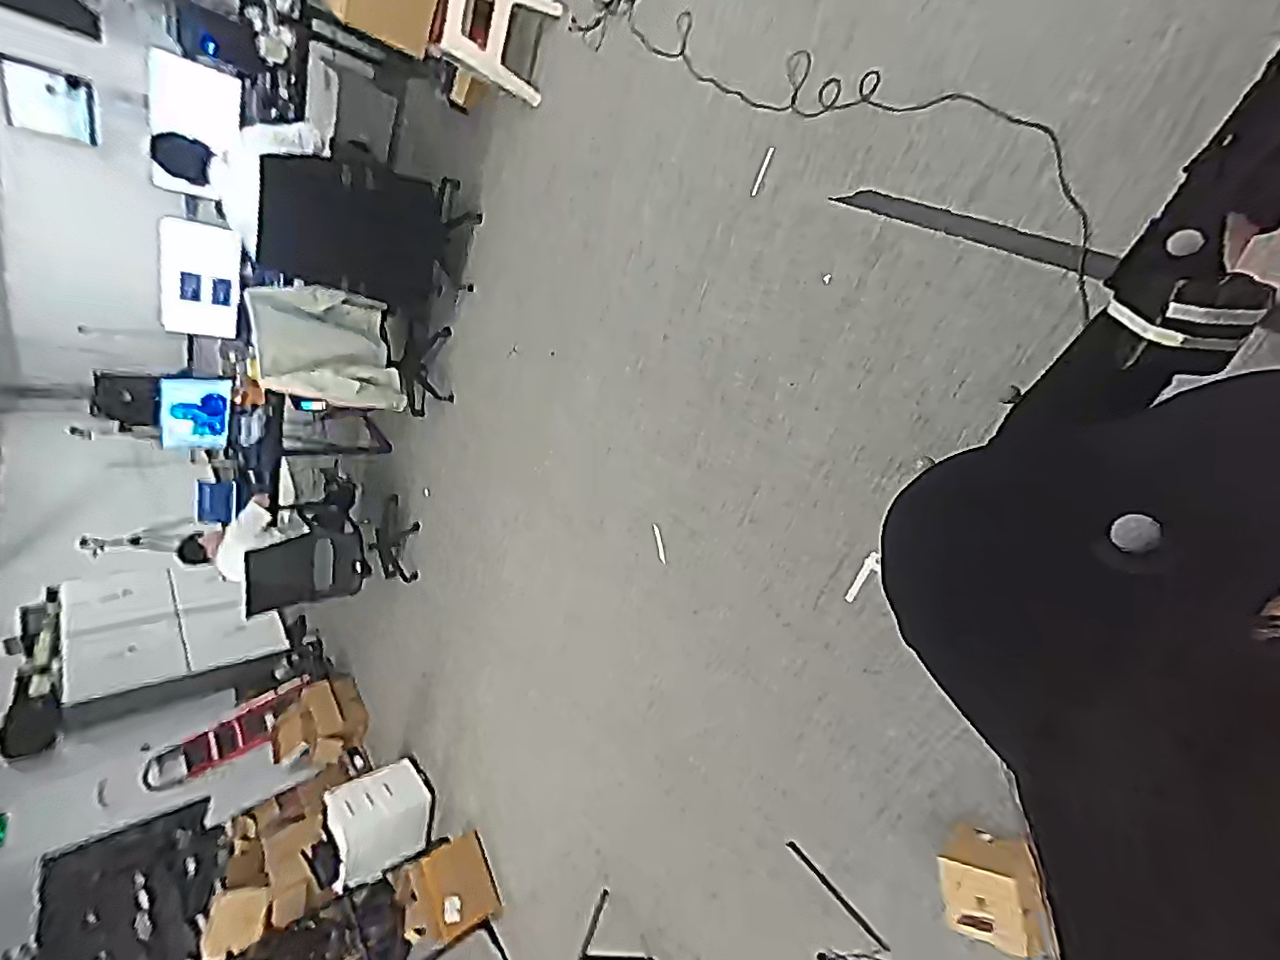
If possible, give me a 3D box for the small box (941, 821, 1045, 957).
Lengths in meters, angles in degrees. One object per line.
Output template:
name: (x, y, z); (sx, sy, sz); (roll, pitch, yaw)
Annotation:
small box: (0.859, 0.977, 1.311); (0.168, 0.176, 0.179); (-11, 86, 45)
